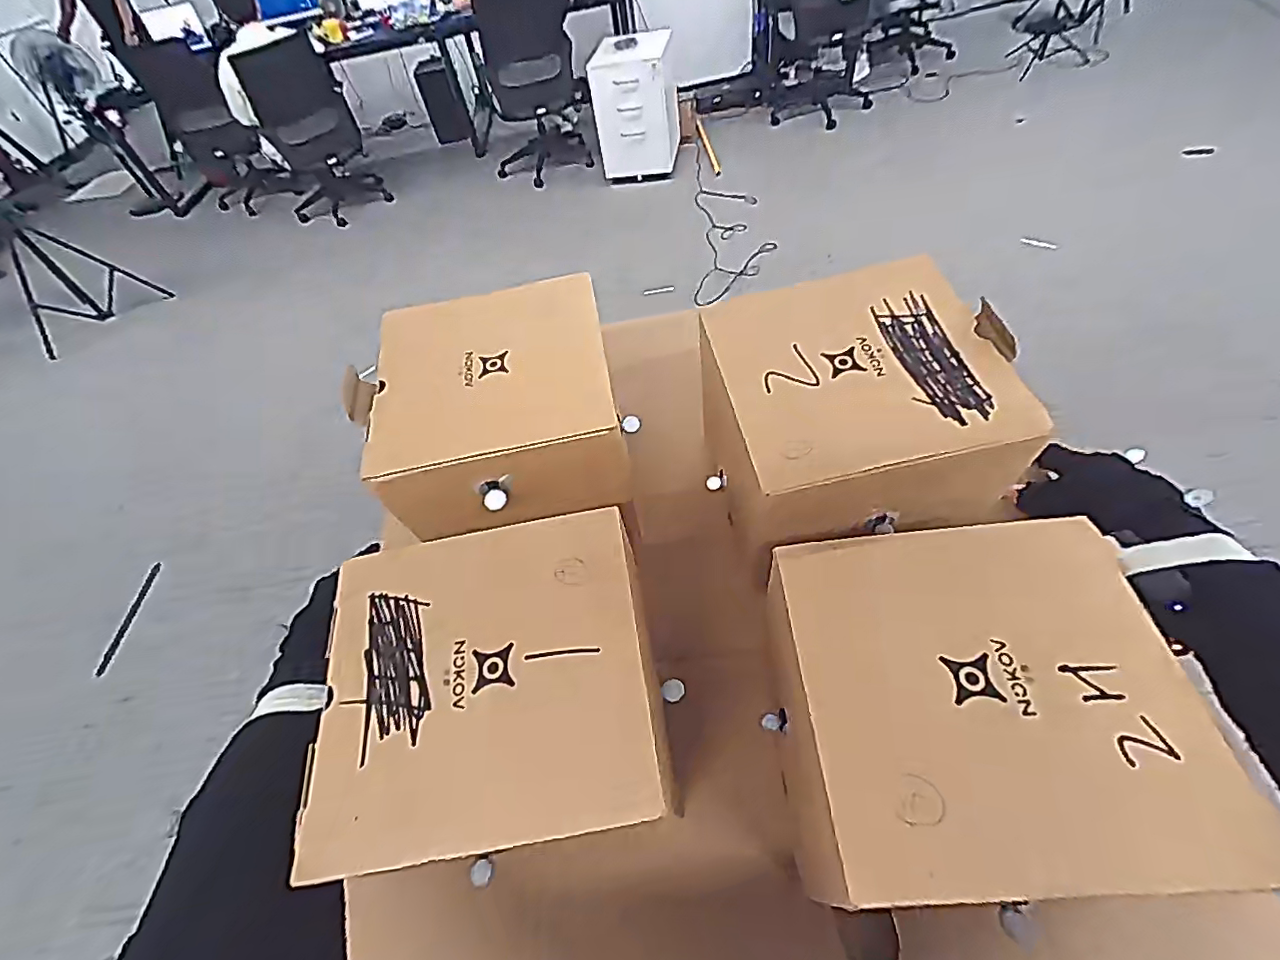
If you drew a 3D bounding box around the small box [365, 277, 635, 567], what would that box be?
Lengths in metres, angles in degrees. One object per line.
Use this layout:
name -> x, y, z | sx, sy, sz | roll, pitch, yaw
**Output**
small box -> -0.104, -0.042, 0.473 | 0.179, 0.176, 0.168 | -12, 57, 1
